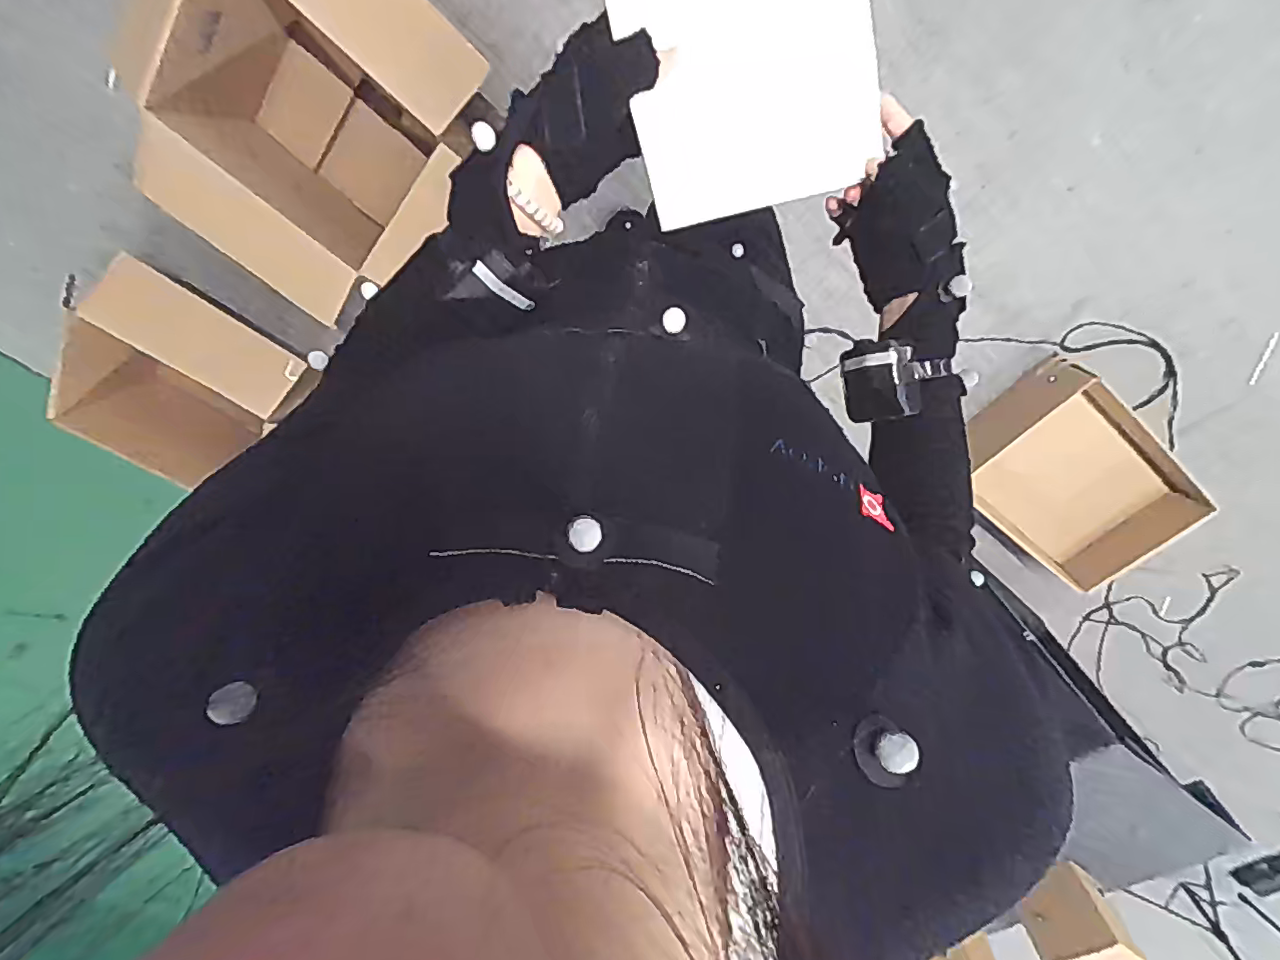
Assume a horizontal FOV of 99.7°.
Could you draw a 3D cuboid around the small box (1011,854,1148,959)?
[{"bbox_3d":[1.036,1.041,1.296,0.168,0.176,0.179,39,116,-20],"label":"small box"}]
